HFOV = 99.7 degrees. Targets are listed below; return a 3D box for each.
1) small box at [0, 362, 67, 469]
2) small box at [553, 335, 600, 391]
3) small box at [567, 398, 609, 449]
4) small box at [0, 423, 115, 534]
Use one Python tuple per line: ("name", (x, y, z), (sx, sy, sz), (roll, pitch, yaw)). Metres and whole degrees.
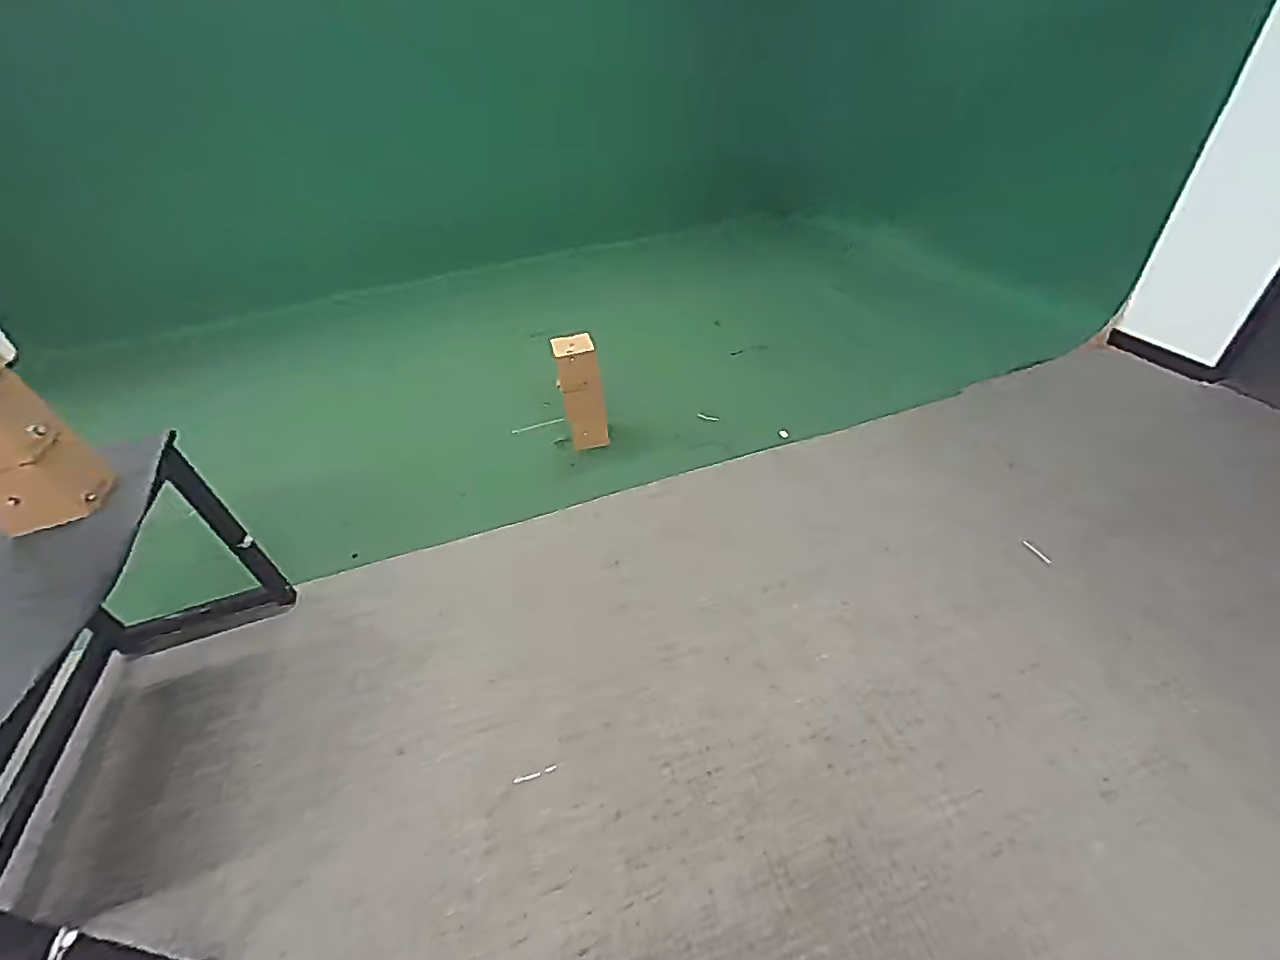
("small box", (-1.428, -0.124, 1.166), (0.179, 0.176, 0.168), (-19, 44, -12))
("small box", (-0.274, -0.501, 2.318), (0.168, 0.176, 0.179), (-12, 40, -8))
("small box", (-0.242, -0.261, 2.541), (0.168, 0.176, 0.179), (-10, 40, -5))
("small box", (-1.413, -0.003, 1.274), (0.179, 0.176, 0.168), (-18, 42, -8))
